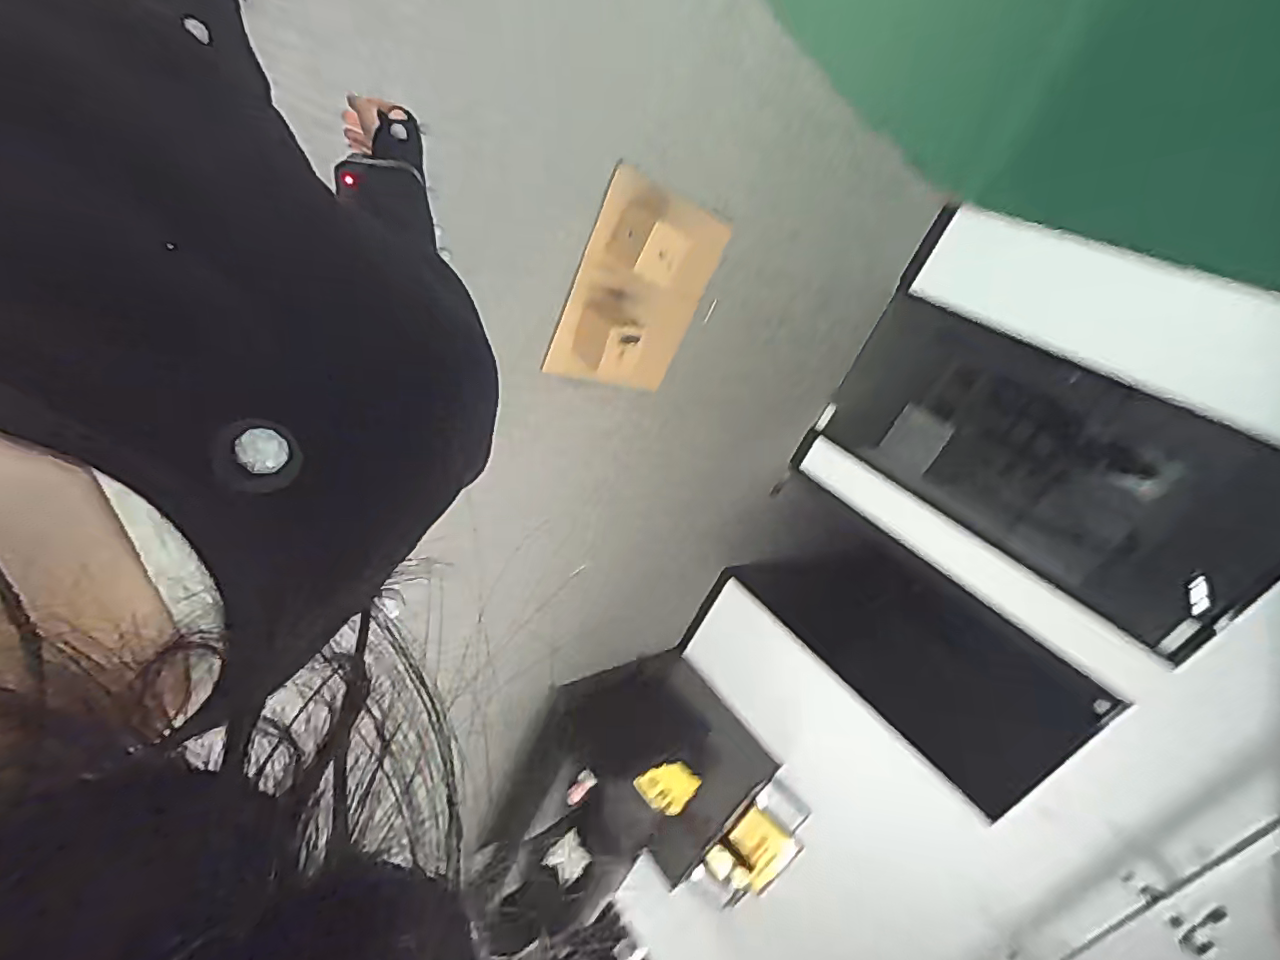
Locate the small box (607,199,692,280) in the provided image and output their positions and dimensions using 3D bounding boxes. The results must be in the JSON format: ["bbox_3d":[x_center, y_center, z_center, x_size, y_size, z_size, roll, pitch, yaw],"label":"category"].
[{"bbox_3d":[0.024,-0.772,1.729,0.179,0.176,0.168,6,122,-50],"label":"small box"}]
